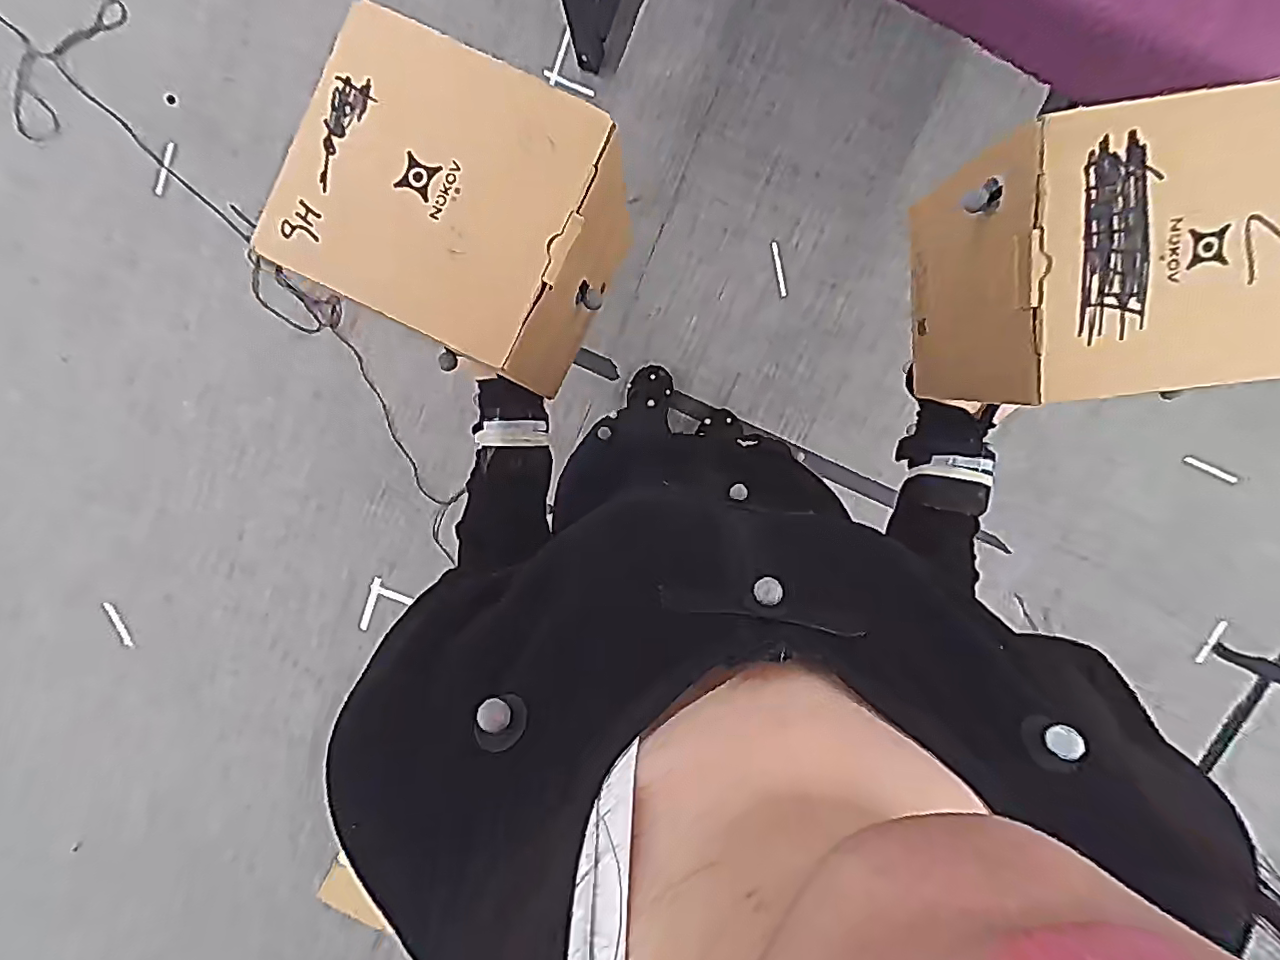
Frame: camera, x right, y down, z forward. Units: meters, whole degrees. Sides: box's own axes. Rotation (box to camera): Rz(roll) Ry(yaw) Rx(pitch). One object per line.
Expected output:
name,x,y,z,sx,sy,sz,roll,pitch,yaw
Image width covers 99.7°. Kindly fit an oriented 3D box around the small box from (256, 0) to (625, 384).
small box,-0.120,-0.182,0.403,0.179,0.176,0.168,26,93,-1
